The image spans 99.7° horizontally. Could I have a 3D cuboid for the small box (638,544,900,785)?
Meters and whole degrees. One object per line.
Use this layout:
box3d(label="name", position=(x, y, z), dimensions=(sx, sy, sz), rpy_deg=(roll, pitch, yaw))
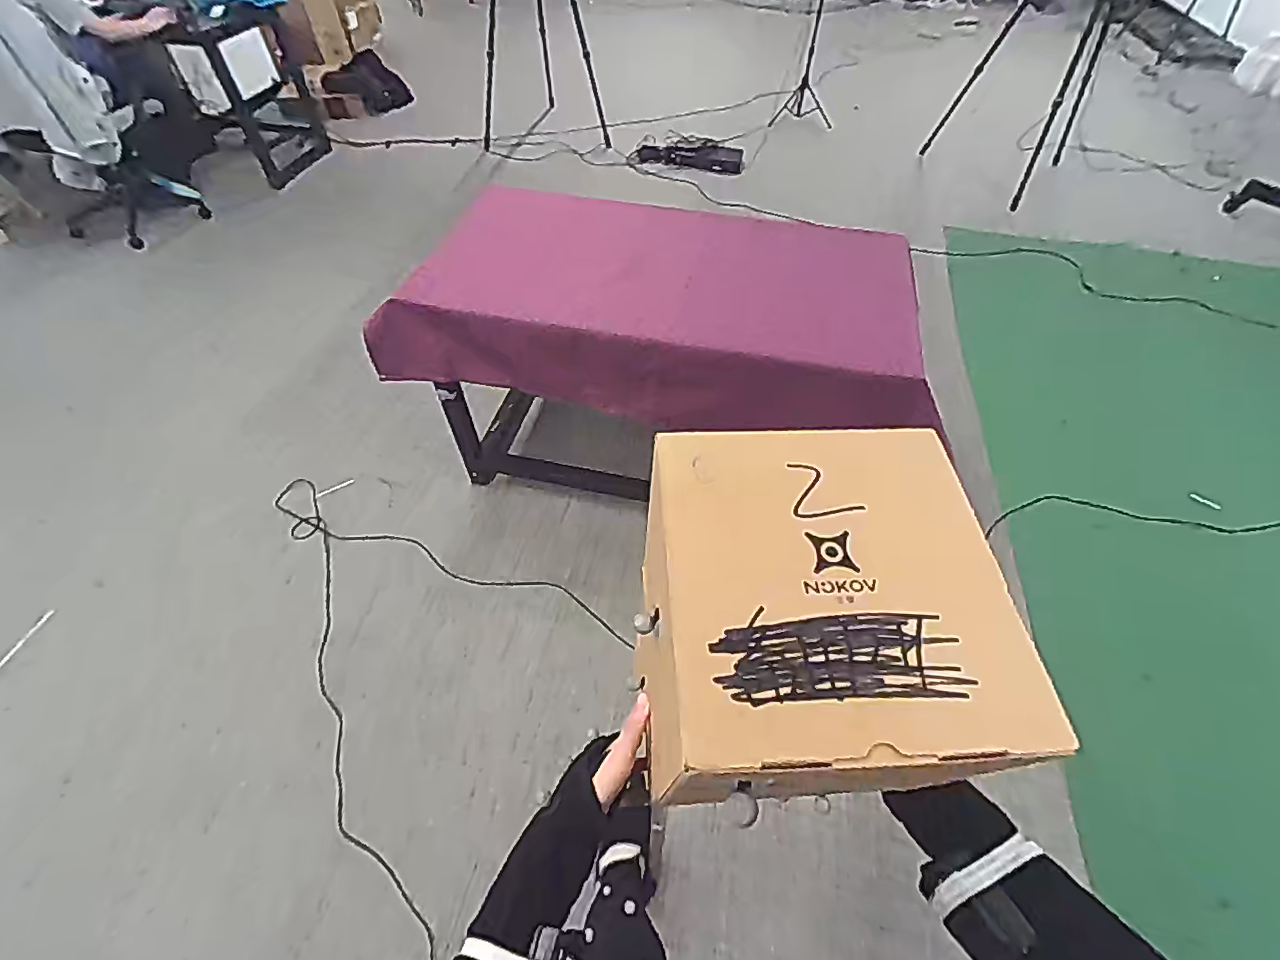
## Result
box3d(label="small box", position=(0.092, 0.170, 0.486), dimensions=(0.179, 0.176, 0.168), rpy_deg=(-2, 56, -3))
